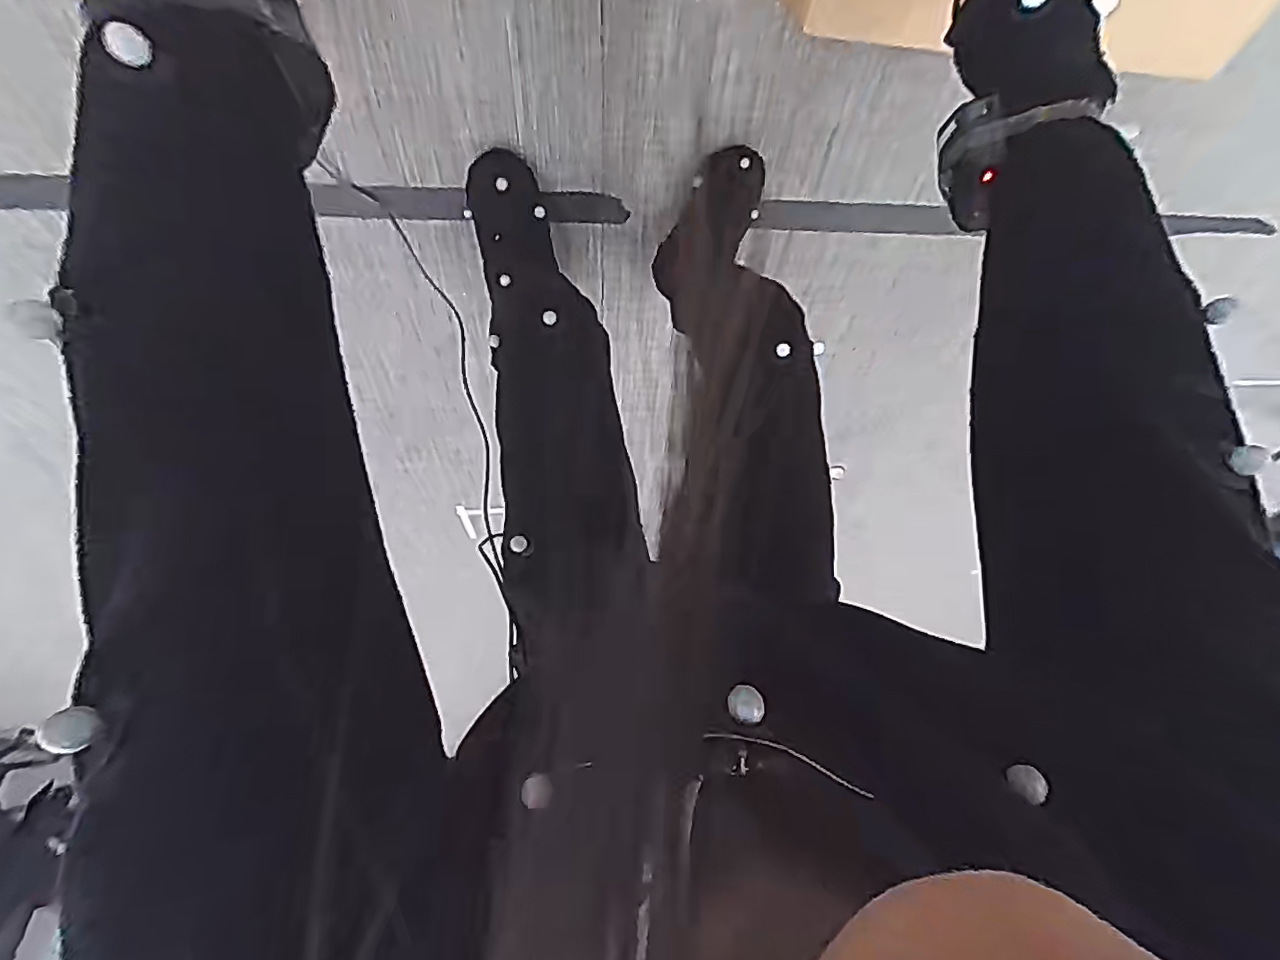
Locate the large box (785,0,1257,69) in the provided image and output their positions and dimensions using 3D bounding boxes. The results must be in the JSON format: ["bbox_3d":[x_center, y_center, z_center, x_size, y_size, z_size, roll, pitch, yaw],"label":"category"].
[{"bbox_3d":[0.331,-0.591,0.447,0.408,0.320,0.320,-1,144,-9],"label":"large box"}]
